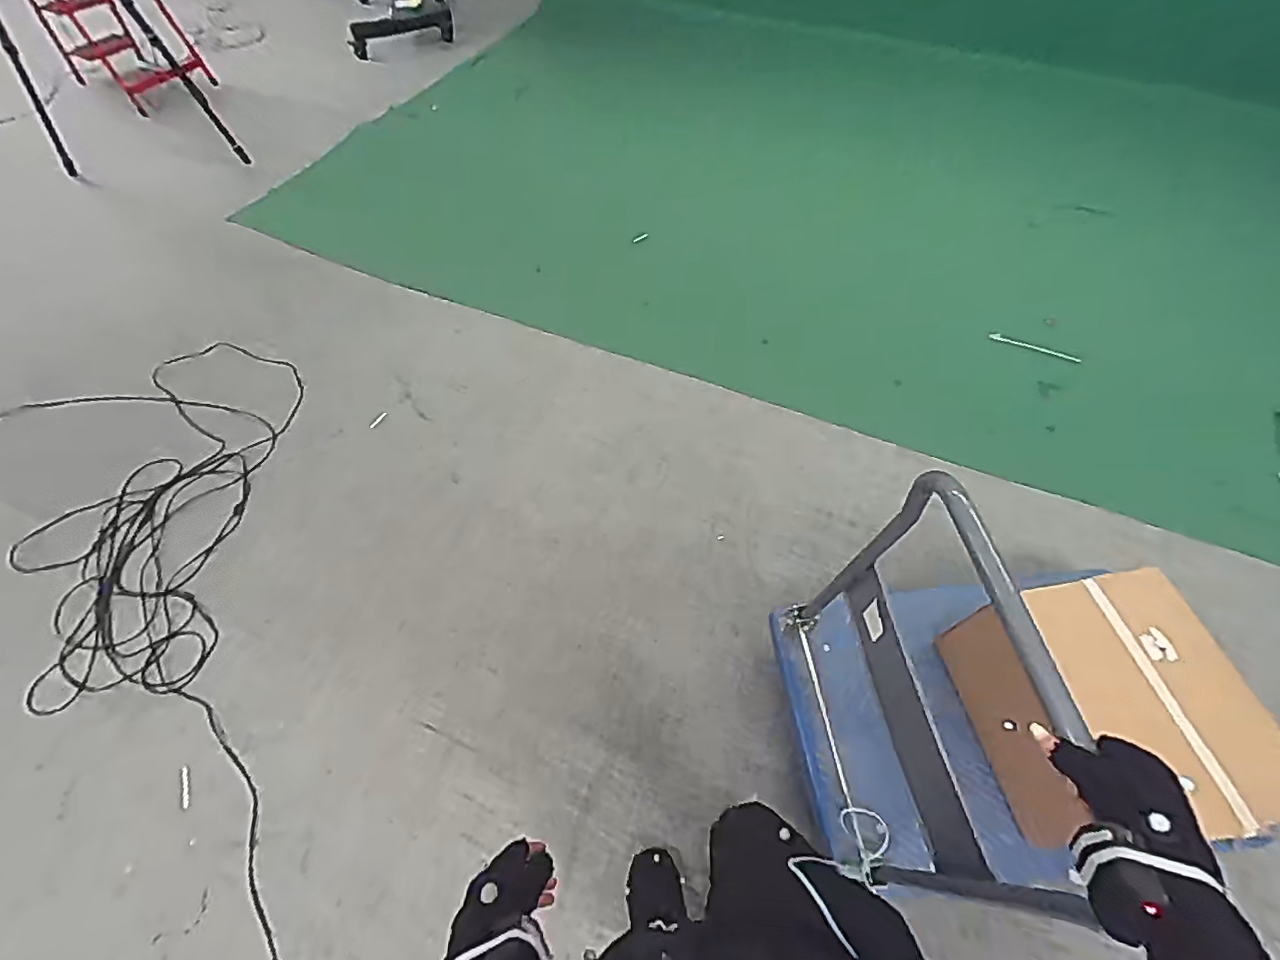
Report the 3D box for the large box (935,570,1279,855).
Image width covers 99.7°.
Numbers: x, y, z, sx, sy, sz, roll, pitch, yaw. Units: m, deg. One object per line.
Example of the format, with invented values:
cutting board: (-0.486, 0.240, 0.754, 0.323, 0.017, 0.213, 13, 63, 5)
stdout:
large box: (0.854, 0.437, 1.024, 0.320, 0.320, 0.408, -9, 57, -6)
